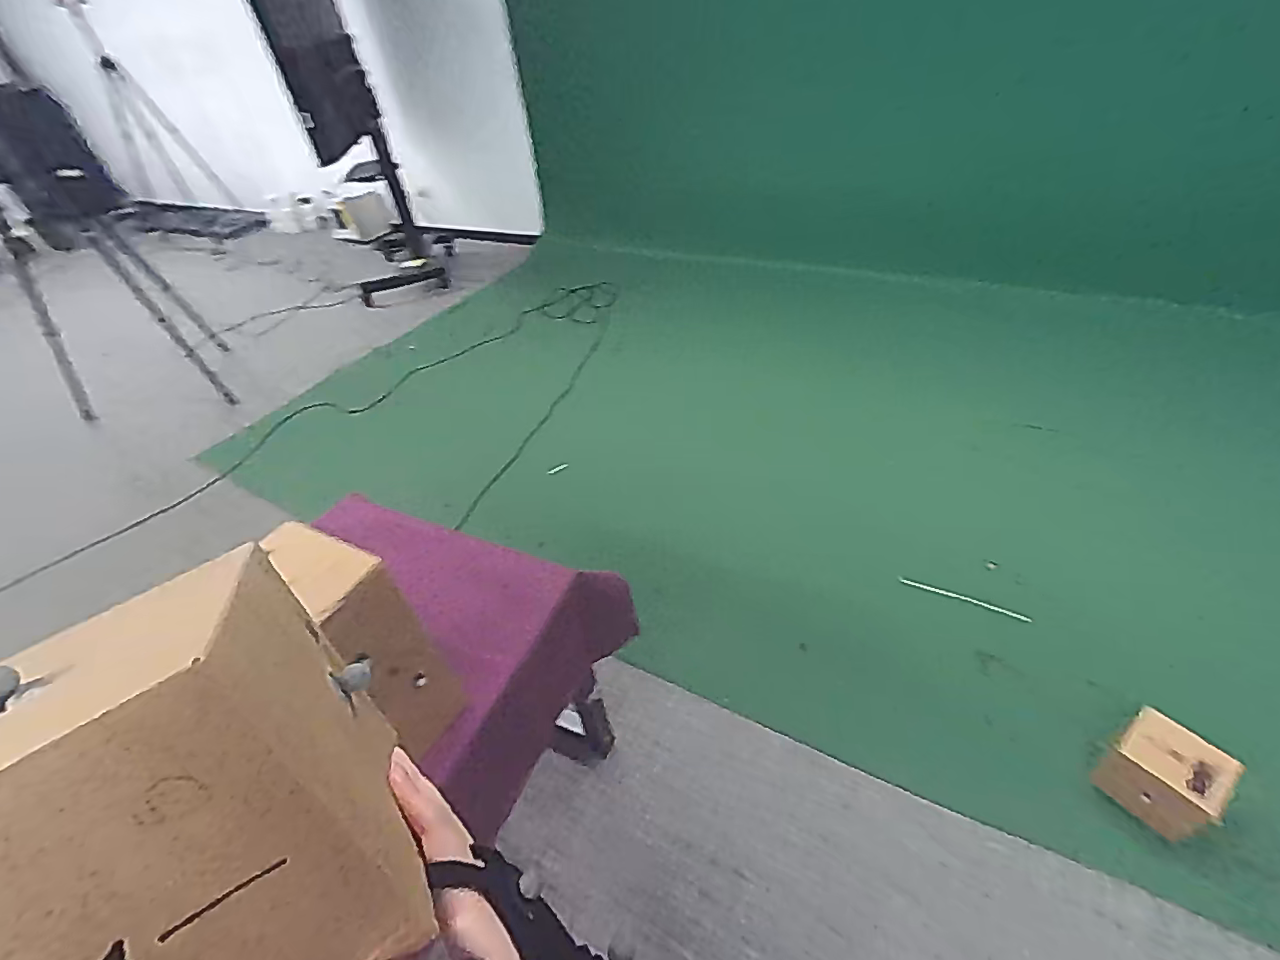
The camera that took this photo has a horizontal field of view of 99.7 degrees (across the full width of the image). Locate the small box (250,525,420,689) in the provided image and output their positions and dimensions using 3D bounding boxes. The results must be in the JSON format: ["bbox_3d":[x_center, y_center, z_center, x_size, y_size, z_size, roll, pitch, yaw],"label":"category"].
[{"bbox_3d":[-0.404,0.188,0.655,0.179,0.176,0.168,16,46,23],"label":"small box"}]

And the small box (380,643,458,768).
[{"bbox_3d":[-0.390,0.313,0.762,0.168,0.176,0.179,19,47,26],"label":"small box"}]

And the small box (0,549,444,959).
[{"bbox_3d":[-0.220,0.157,0.249,0.179,0.168,0.176,-30,23,-23],"label":"small box"}]
